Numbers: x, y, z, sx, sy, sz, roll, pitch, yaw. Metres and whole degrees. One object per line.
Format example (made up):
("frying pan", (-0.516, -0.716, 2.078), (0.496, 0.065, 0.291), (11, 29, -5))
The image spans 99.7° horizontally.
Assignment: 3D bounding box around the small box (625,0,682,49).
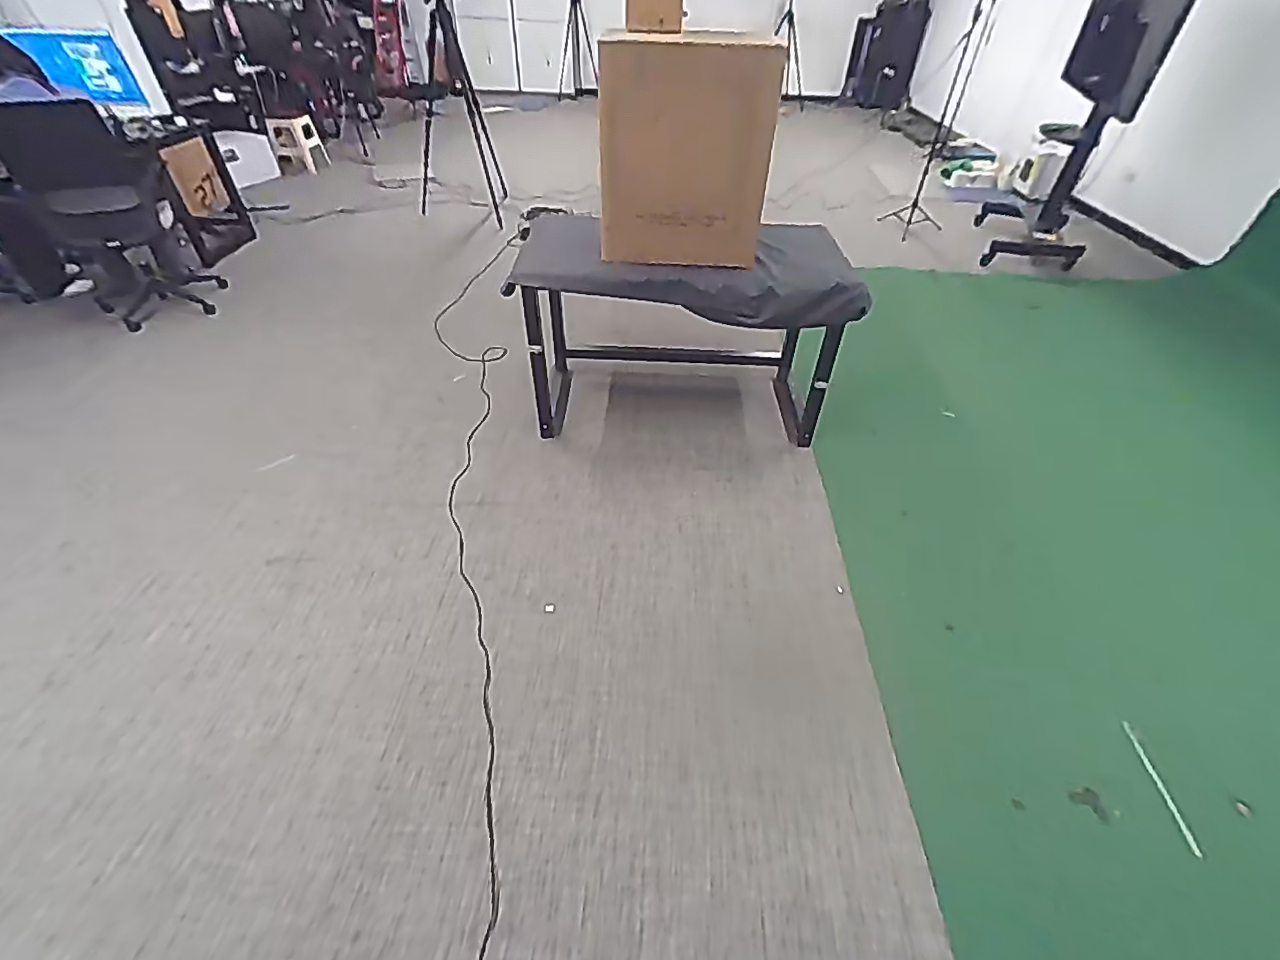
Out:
("small box", (0.043, -1.409, 1.622), (0.168, 0.176, 0.179), (2, 40, 2))
